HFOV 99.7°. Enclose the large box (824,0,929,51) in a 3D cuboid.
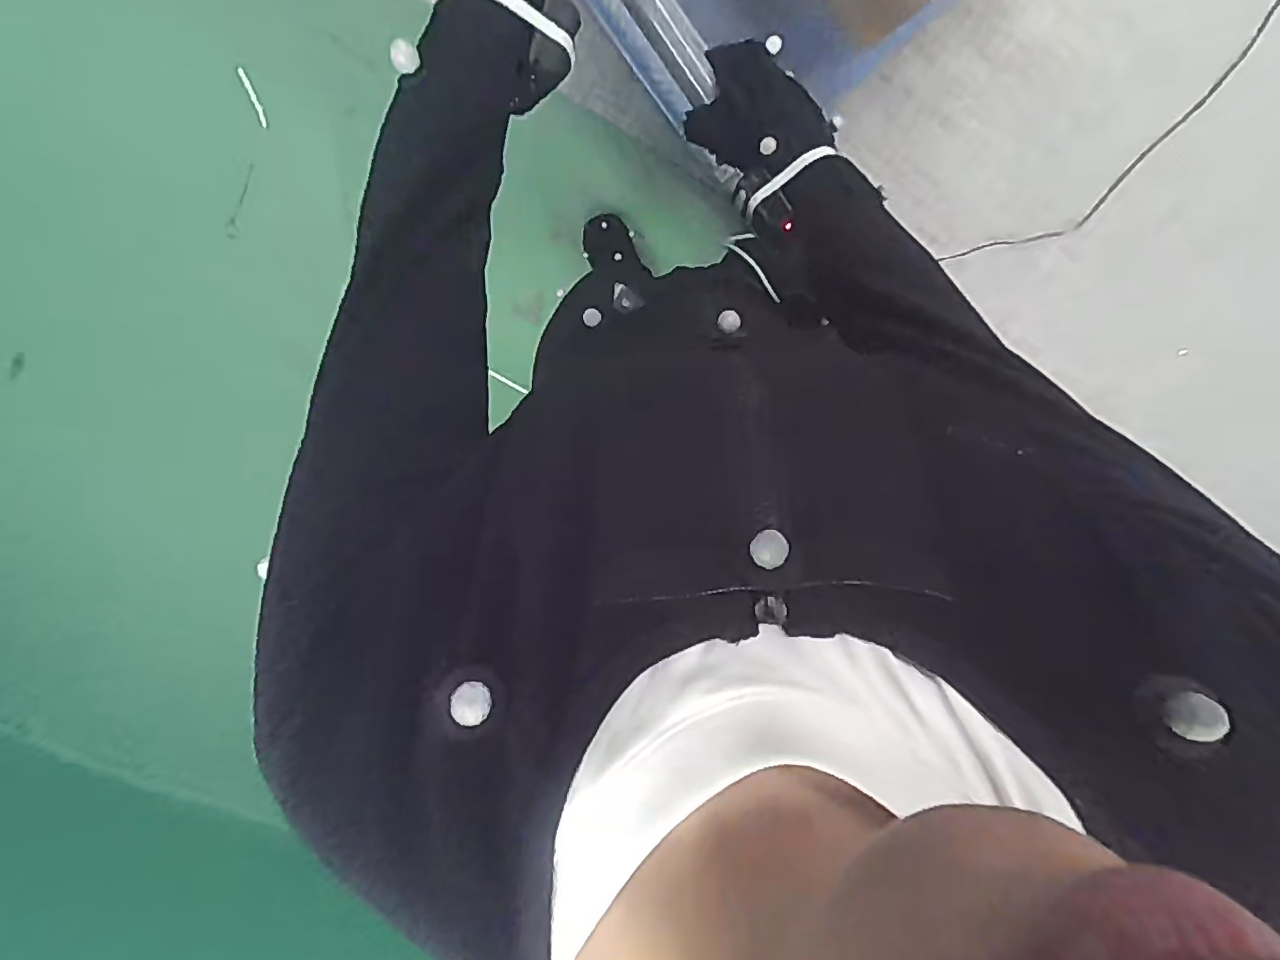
[{"bbox_3d":[0.361,-0.920,0.735,0.320,0.320,0.408,-38,109,19],"label":"large box"}]
